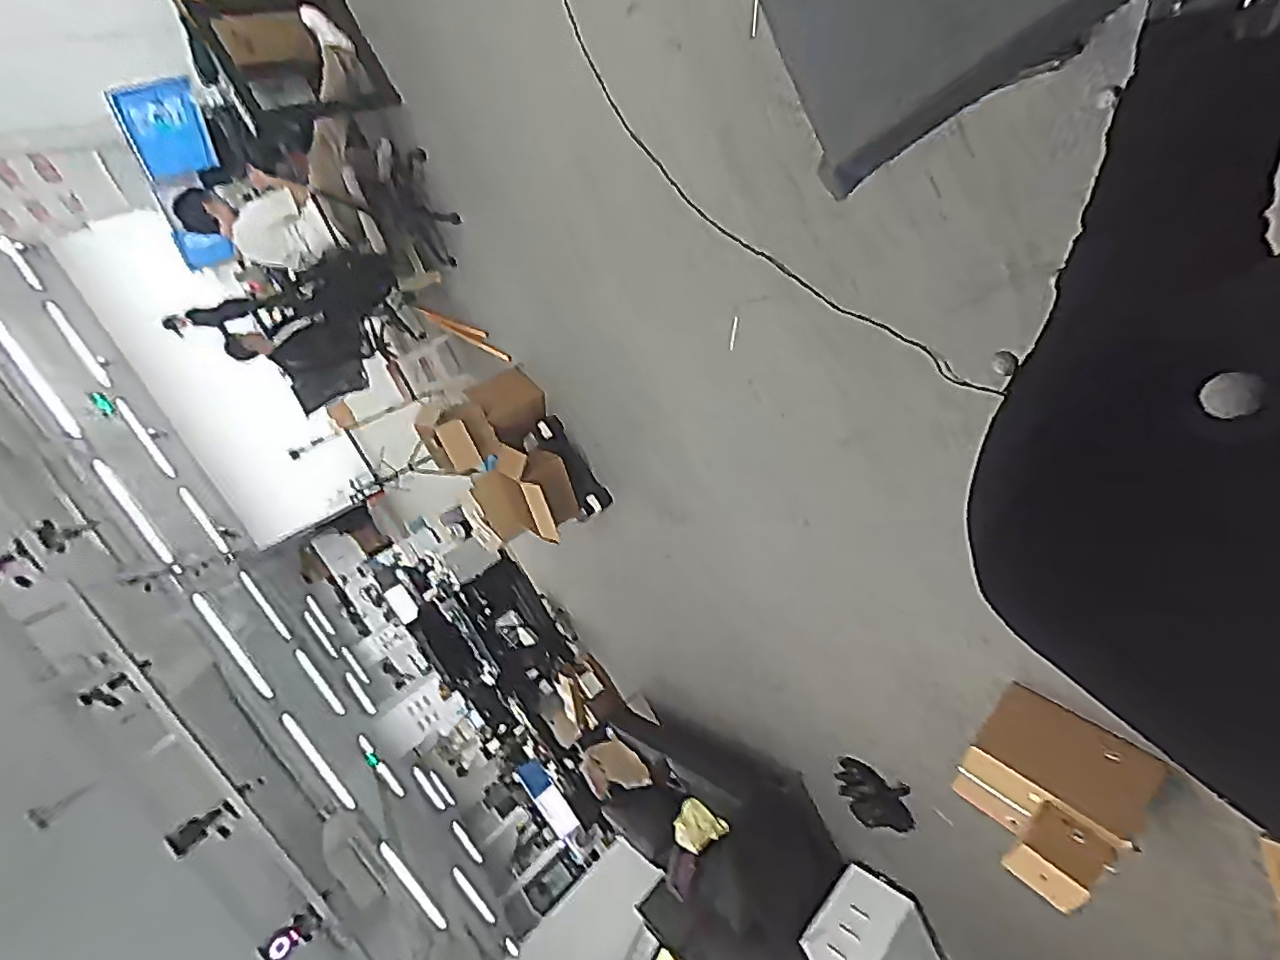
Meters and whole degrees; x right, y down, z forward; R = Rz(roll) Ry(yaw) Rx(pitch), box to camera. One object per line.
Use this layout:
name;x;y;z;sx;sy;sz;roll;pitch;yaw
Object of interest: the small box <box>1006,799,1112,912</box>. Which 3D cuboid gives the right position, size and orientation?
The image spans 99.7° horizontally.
small box;1.175;1.047;1.516;0.168;0.176;0.179;31;140;37
